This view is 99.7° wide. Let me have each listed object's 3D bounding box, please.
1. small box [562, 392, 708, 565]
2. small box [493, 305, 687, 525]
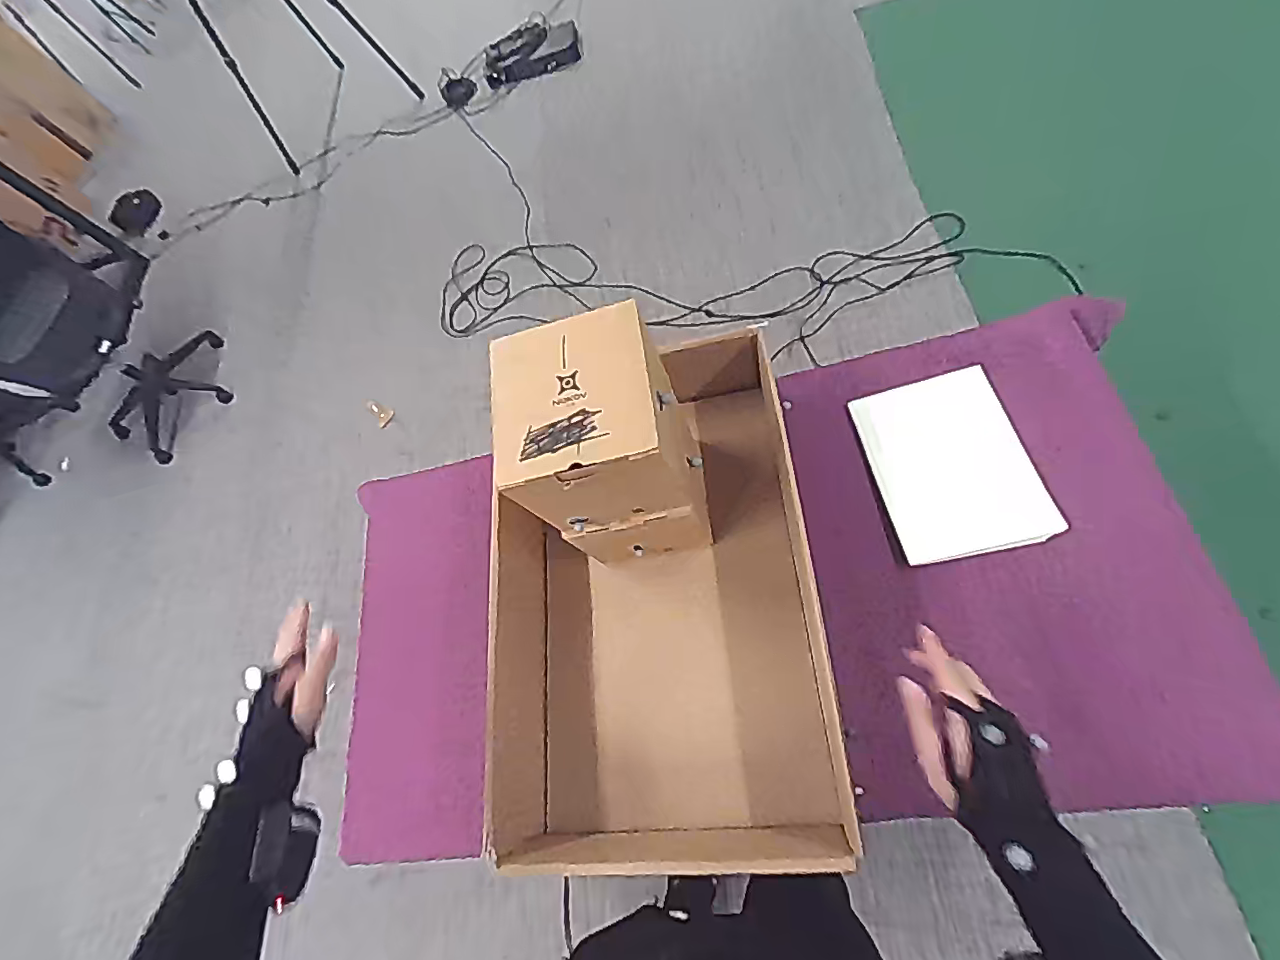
[{"bbox_3d":[-0.006,0.007,0.753,0.168,0.176,0.179,-12,68,11],"label":"small box"},{"bbox_3d":[-0.050,-0.057,0.608,0.168,0.176,0.179,-13,66,11],"label":"small box"}]
